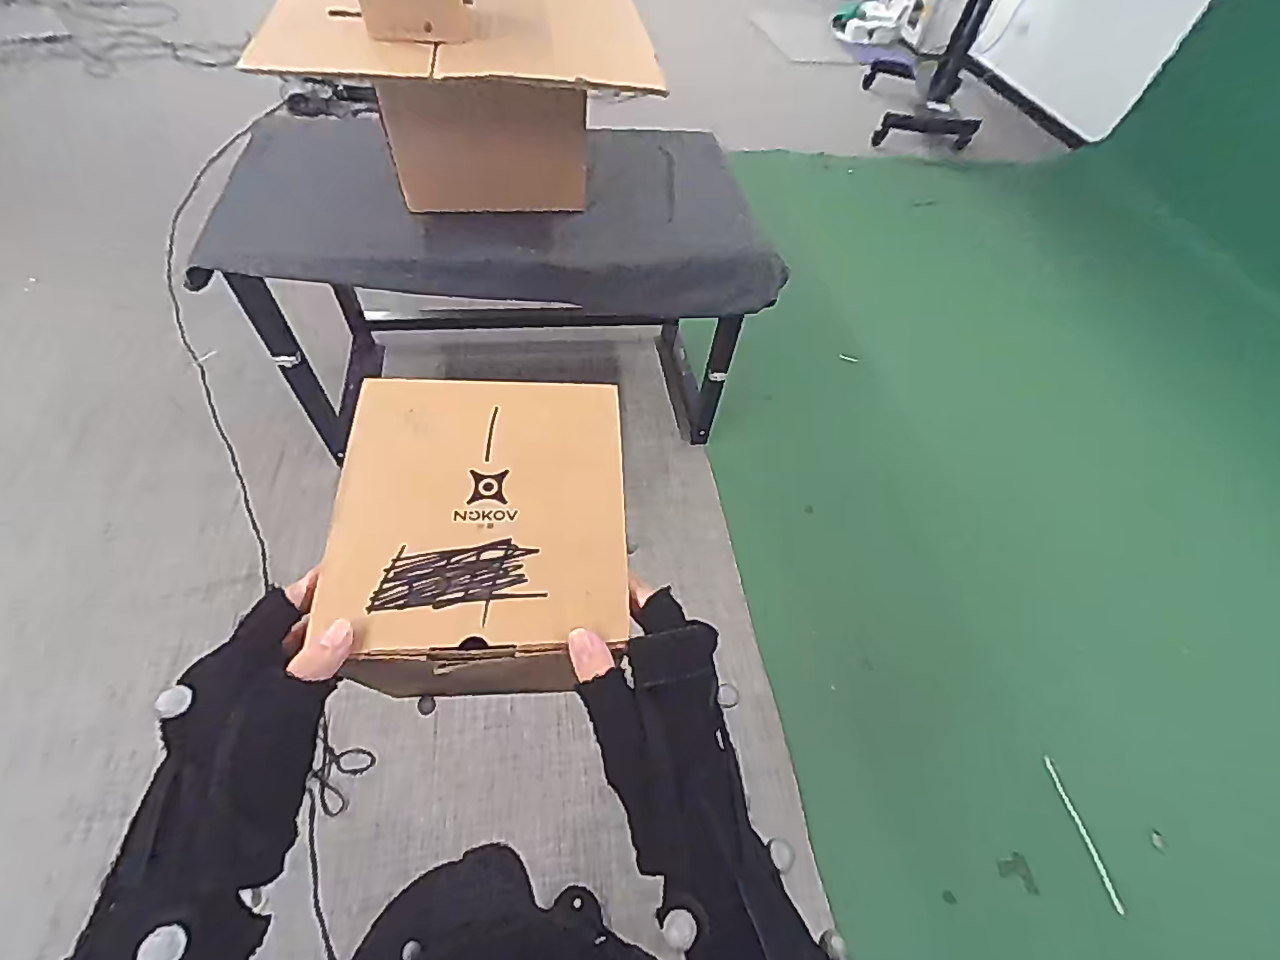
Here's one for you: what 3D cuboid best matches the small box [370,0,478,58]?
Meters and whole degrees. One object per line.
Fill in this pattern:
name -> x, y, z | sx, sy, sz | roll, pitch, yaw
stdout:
small box -> -0.386, -0.881, 0.954 | 0.168, 0.176, 0.179 | -4, 55, -8

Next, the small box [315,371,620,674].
small box -> -0.102, 0.041, 0.399 | 0.168, 0.176, 0.179 | 0, 60, -7
